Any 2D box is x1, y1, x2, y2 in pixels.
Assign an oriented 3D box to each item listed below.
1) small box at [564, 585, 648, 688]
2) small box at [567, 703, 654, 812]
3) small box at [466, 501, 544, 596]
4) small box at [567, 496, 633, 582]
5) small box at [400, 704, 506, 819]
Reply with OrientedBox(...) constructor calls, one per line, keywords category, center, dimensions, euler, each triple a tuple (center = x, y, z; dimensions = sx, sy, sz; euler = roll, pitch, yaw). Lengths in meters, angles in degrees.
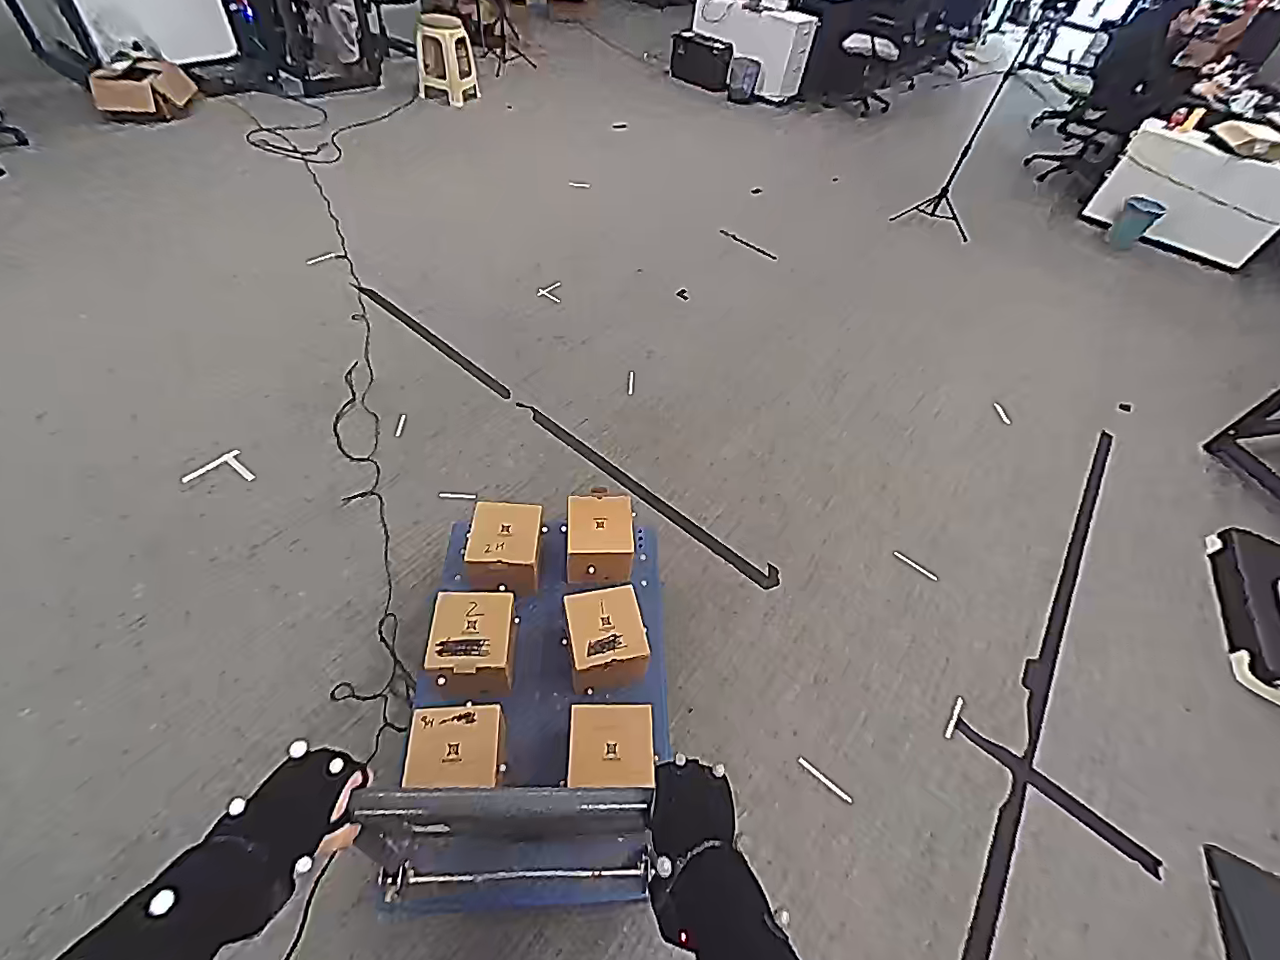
OrientedBox(category="small box", center=(-0.085, 0.373, 1.271), dimensions=(0.168, 0.176, 0.179), euler=(-7, 52, -14))
OrientedBox(category="small box", center=(-0.063, 0.574, 1.112), dimensions=(0.168, 0.176, 0.179), euler=(4, 50, -6))
OrientedBox(category="small box", center=(-0.339, 0.177, 1.391), dimensions=(0.168, 0.176, 0.179), euler=(4, 51, -5))
OrientedBox(category="small box", center=(-0.110, 0.161, 1.441), dimensions=(0.168, 0.176, 0.179), euler=(0, 51, -8))
OrientedBox(category="small box", center=(-0.359, 0.562, 1.075), dimensions=(0.168, 0.176, 0.179), euler=(1, 51, -9))
